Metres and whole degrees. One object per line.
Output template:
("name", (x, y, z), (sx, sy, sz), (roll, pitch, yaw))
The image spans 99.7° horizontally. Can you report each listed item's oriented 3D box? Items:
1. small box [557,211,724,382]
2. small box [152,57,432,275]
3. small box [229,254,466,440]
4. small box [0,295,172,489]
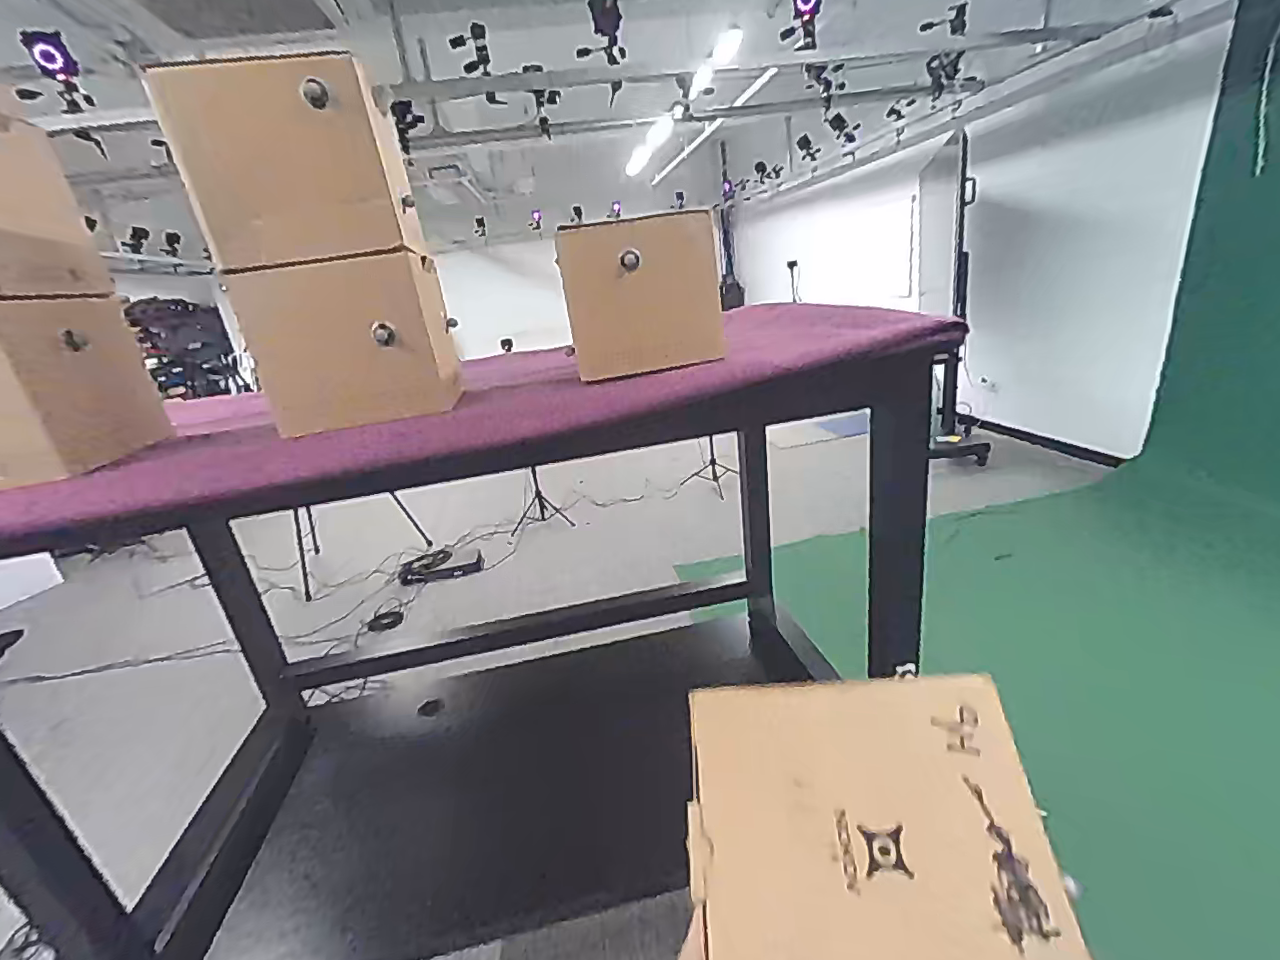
("small box", (-0.003, -0.225, 0.691), (0.179, 0.176, 0.168), (-10, 18, -5))
("small box", (-0.341, -0.308, 0.574), (0.179, 0.176, 0.168), (-11, 19, -10))
("small box", (-0.313, -0.156, 0.627), (0.179, 0.176, 0.168), (-12, 19, -7))
("small box", (-0.641, -0.090, 0.555), (0.168, 0.176, 0.179), (-10, 20, -9))
